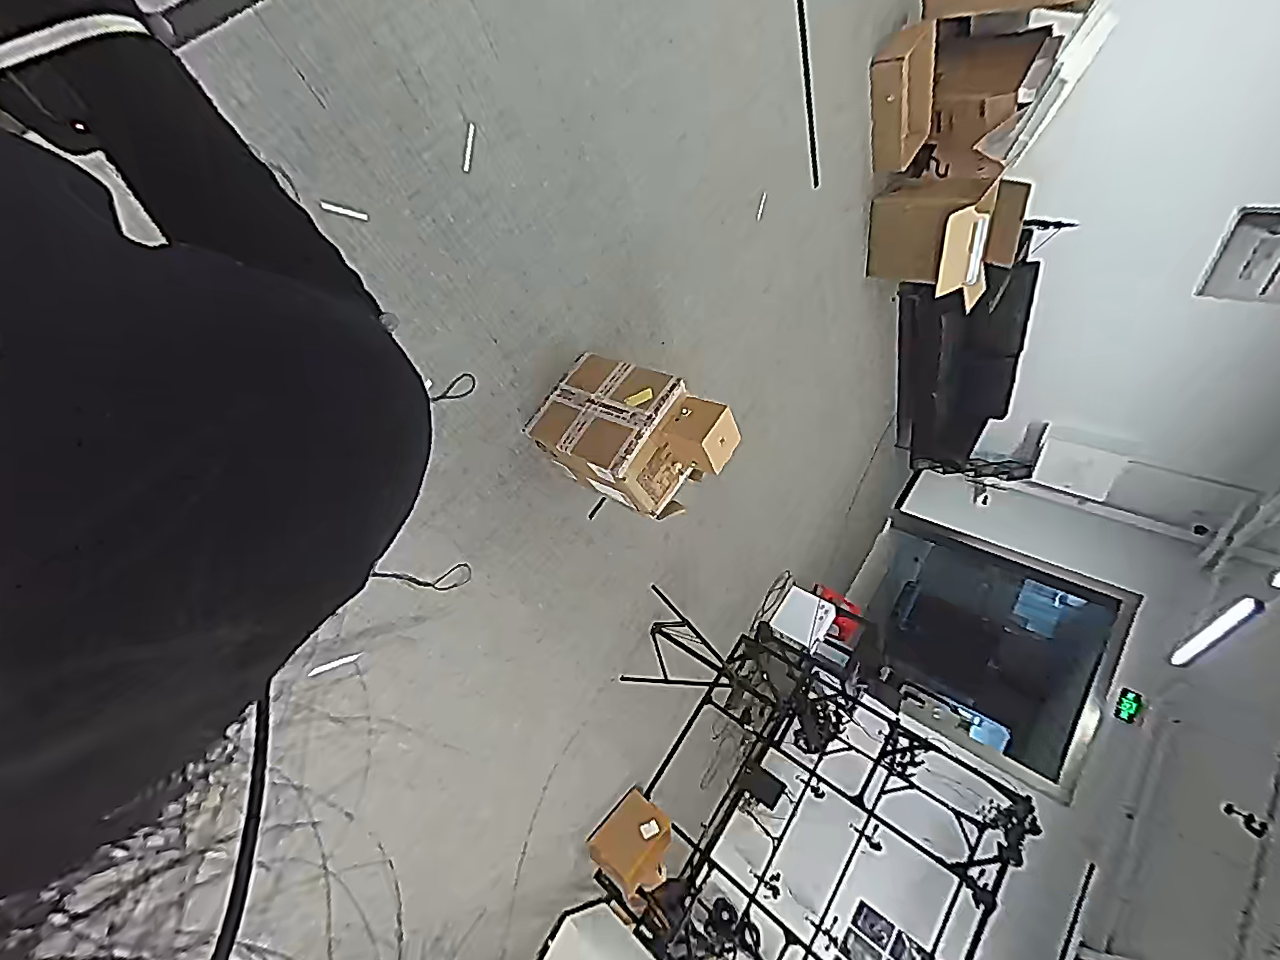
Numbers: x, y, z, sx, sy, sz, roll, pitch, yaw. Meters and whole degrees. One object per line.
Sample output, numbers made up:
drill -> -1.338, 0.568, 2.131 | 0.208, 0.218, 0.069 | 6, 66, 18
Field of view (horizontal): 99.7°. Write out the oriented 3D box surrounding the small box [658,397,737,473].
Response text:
small box -> 0.191, -0.155, 1.798 | 0.168, 0.176, 0.179 | -55, 139, -18
